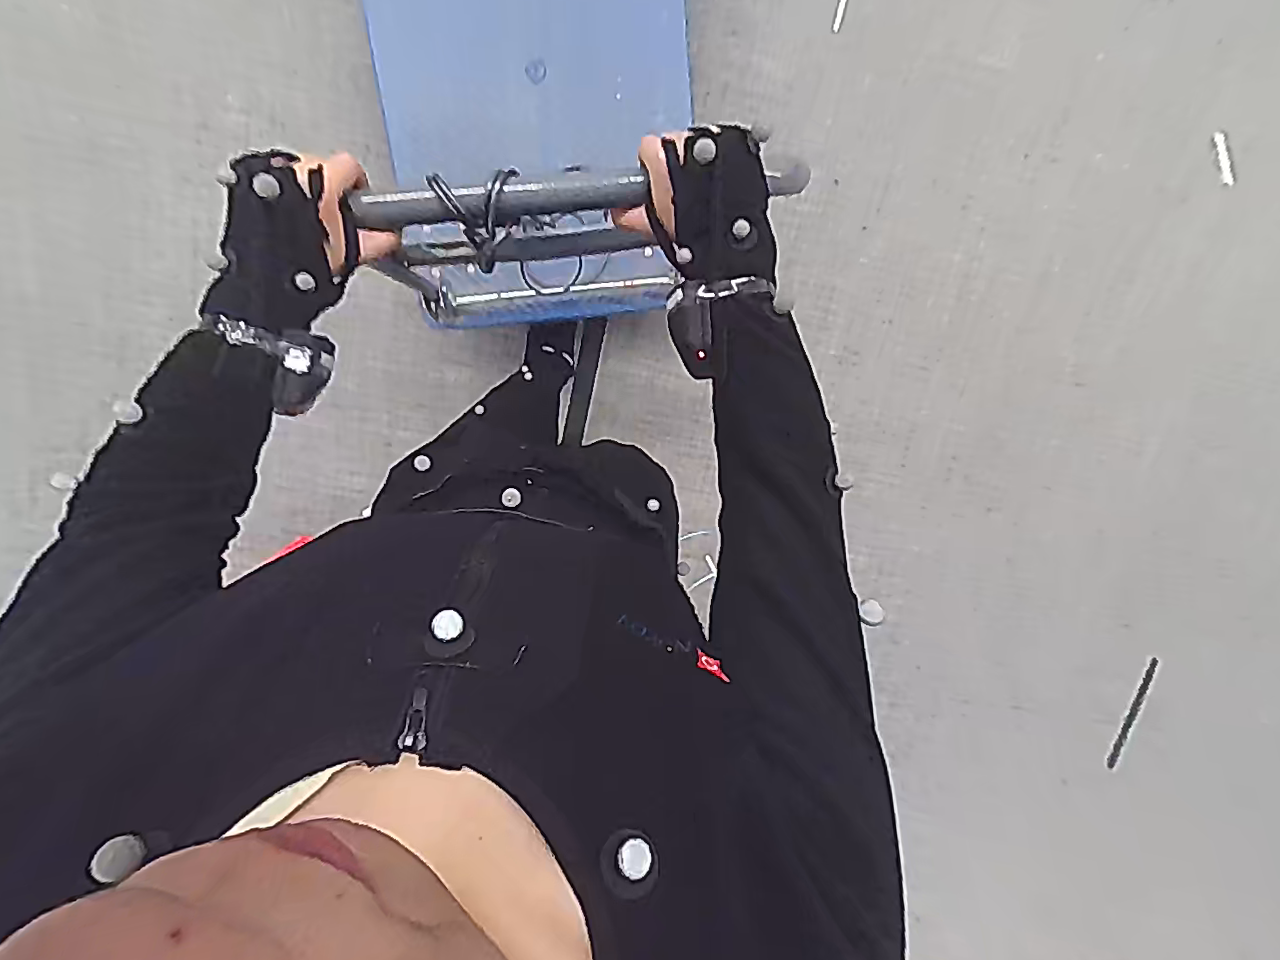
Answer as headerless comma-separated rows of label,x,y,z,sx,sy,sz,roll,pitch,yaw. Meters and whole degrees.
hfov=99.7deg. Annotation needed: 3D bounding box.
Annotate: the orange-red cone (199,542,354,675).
orange-red cone,-0.829,0.310,1.186,0.199,0.360,0.198,-33,104,2
